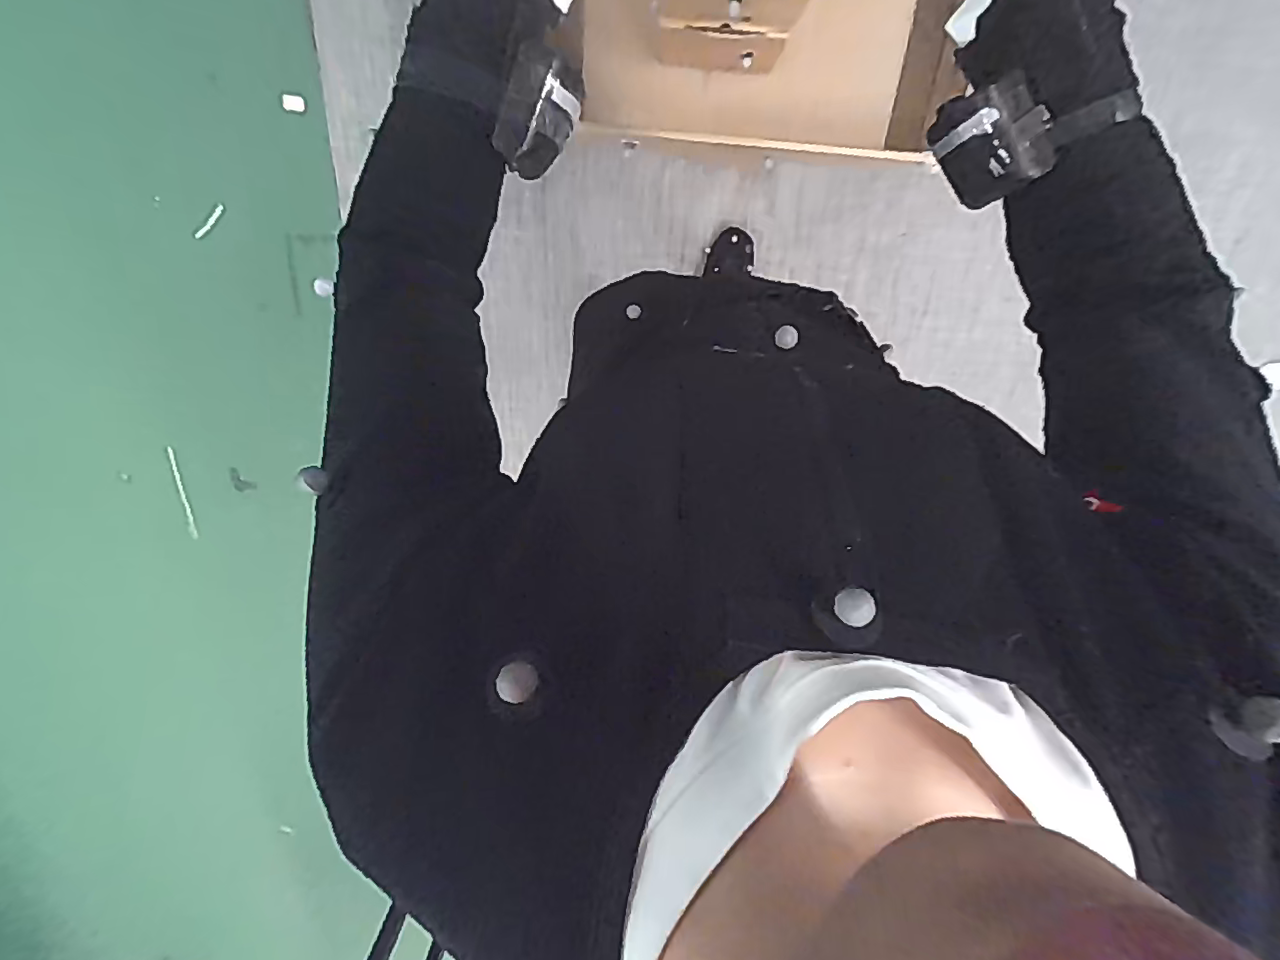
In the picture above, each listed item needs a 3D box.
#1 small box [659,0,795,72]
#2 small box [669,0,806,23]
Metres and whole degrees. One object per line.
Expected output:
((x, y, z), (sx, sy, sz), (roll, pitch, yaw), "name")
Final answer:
((0.116, -0.654, 0.693), (0.168, 0.176, 0.179), (5, 113, 0), "small box")
((0.110, -0.594, 0.541), (0.168, 0.176, 0.179), (6, 115, 0), "small box")
